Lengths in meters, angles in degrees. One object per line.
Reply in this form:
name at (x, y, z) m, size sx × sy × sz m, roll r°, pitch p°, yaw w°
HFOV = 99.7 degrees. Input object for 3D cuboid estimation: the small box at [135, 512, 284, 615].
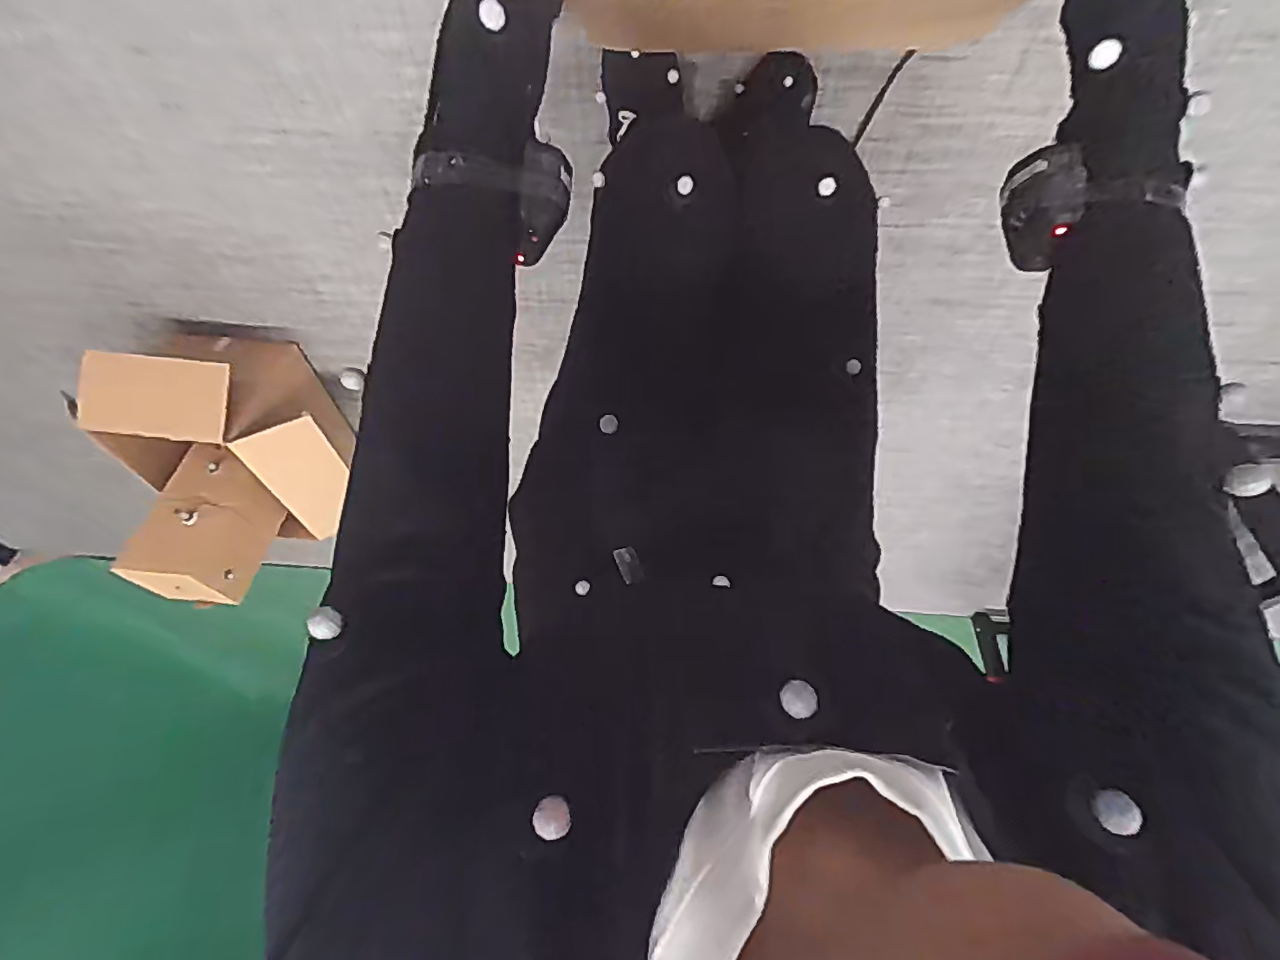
small box at (-0.950, 0.190, 1.217) m, size 0.168 × 0.176 × 0.179 m, roll 4°, pitch 147°, yaw 1°
